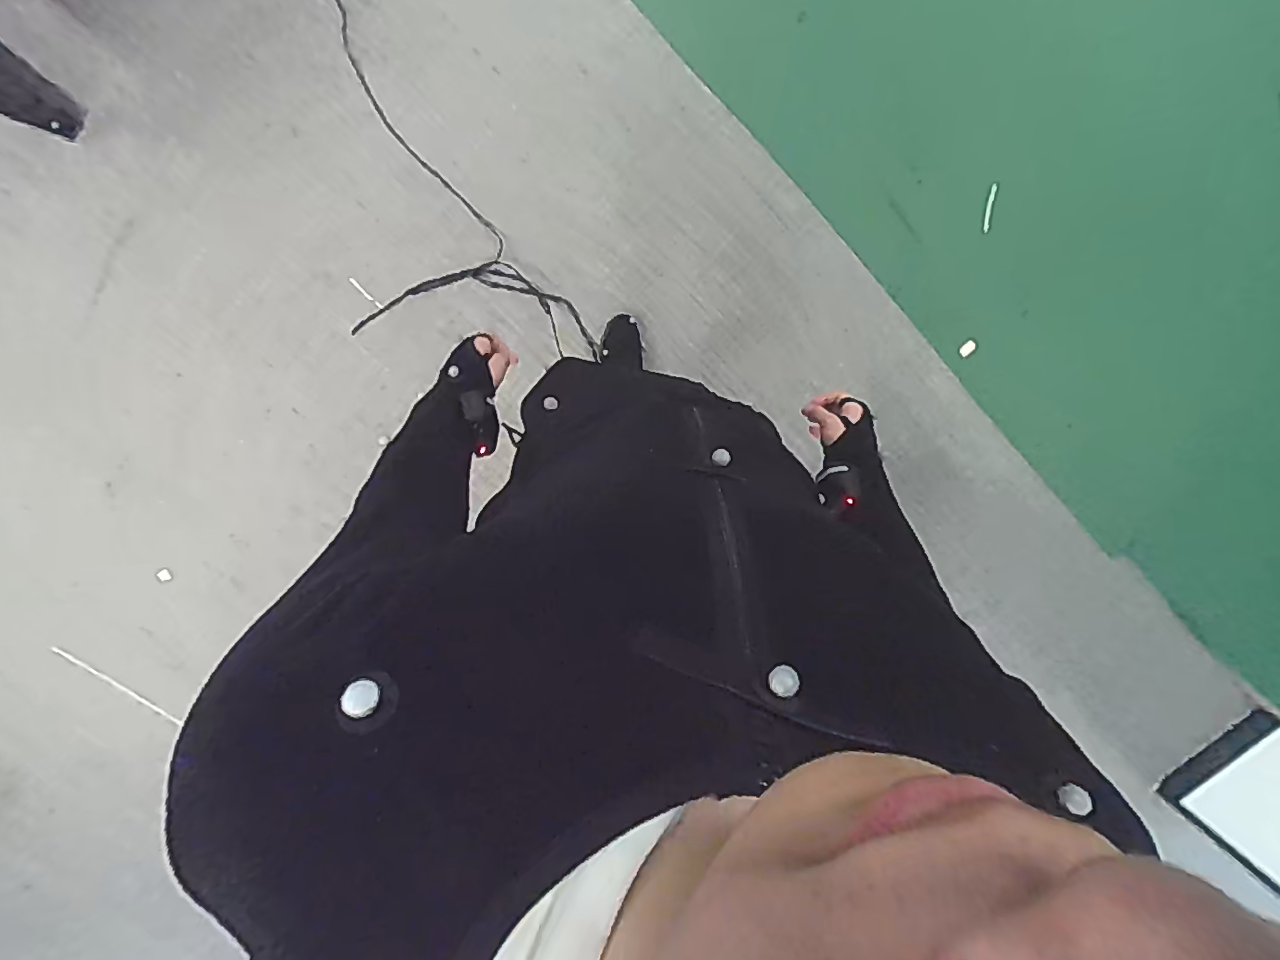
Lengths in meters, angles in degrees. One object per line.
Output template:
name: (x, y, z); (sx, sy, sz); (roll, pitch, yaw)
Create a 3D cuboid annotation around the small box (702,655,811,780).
small box: (0.267, 0.554, 1.279); (0.168, 0.176, 0.179); (-41, 101, 9)
